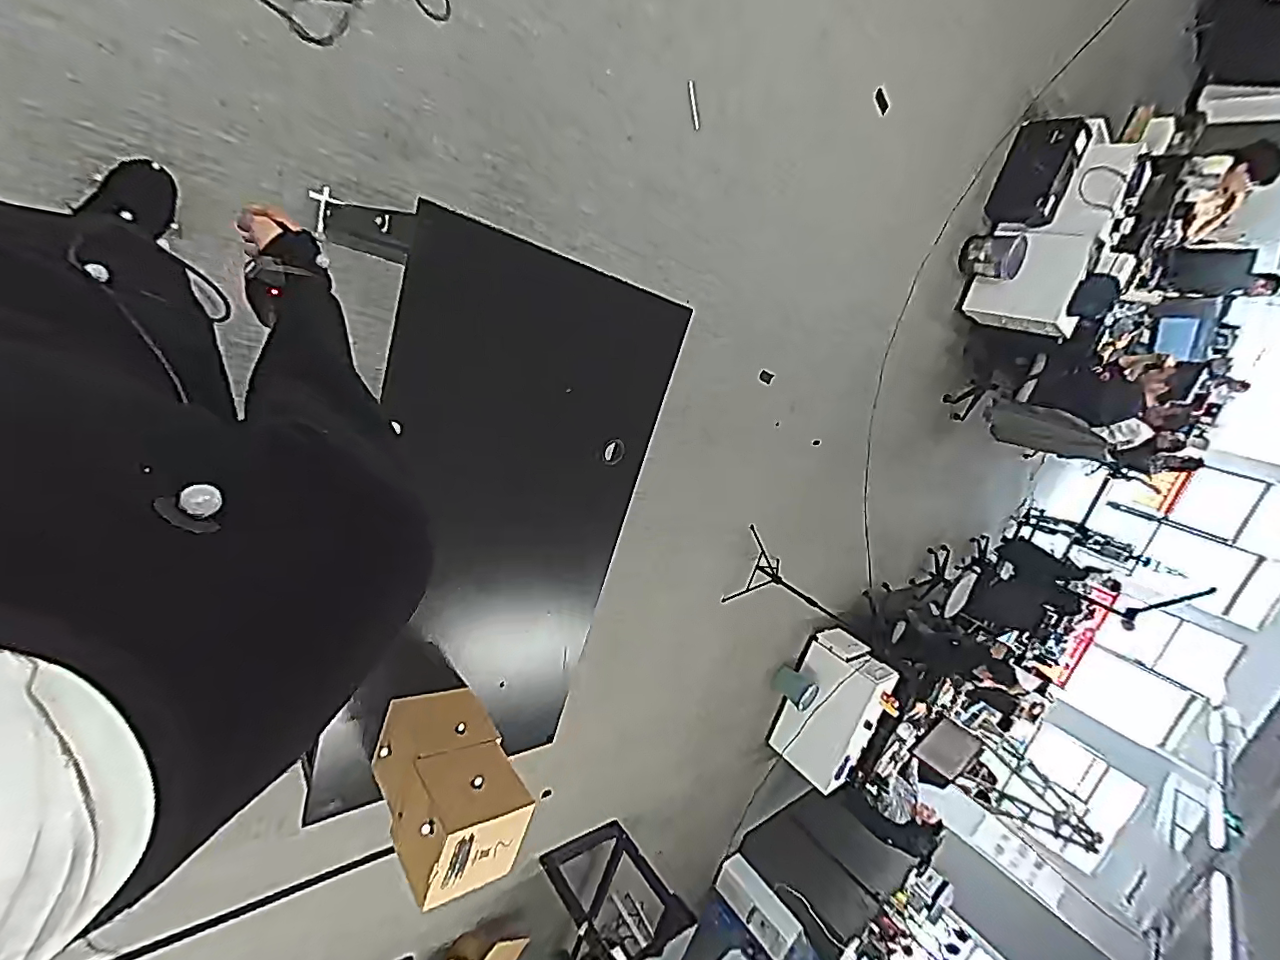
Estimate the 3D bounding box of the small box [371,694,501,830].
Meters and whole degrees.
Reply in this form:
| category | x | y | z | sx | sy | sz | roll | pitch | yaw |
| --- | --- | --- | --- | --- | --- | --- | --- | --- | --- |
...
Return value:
| category | x | y | z | sx | sy | sz | roll | pitch | yaw |
| --- | --- | --- | --- | --- | --- | --- | --- | --- | --- |
| small box | -0.424 | 0.565 | 1.115 | 0.179 | 0.176 | 0.168 | 11 | 104 | -45 |
